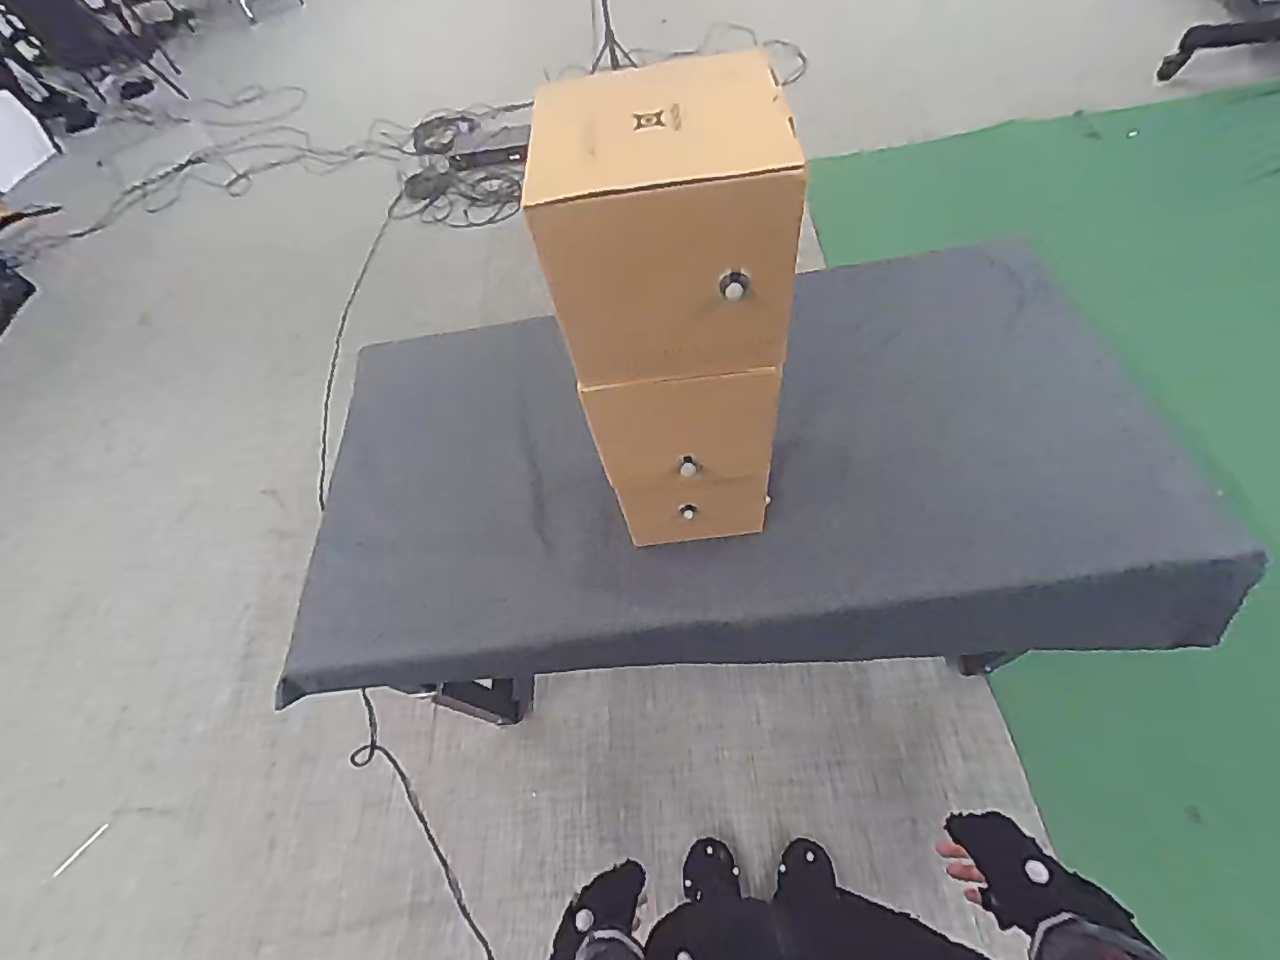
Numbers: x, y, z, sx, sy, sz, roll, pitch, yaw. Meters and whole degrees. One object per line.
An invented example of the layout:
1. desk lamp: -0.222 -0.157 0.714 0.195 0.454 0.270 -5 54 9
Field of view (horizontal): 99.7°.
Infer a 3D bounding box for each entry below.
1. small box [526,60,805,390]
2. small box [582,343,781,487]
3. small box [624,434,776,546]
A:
1. small box: 0.021 -0.195 0.440 0.179 0.176 0.168 -7 57 6
2. small box: 0.041 -0.108 0.576 0.179 0.176 0.168 -6 58 5
3. small box: 0.066 -0.028 0.717 0.179 0.176 0.168 -10 58 2
